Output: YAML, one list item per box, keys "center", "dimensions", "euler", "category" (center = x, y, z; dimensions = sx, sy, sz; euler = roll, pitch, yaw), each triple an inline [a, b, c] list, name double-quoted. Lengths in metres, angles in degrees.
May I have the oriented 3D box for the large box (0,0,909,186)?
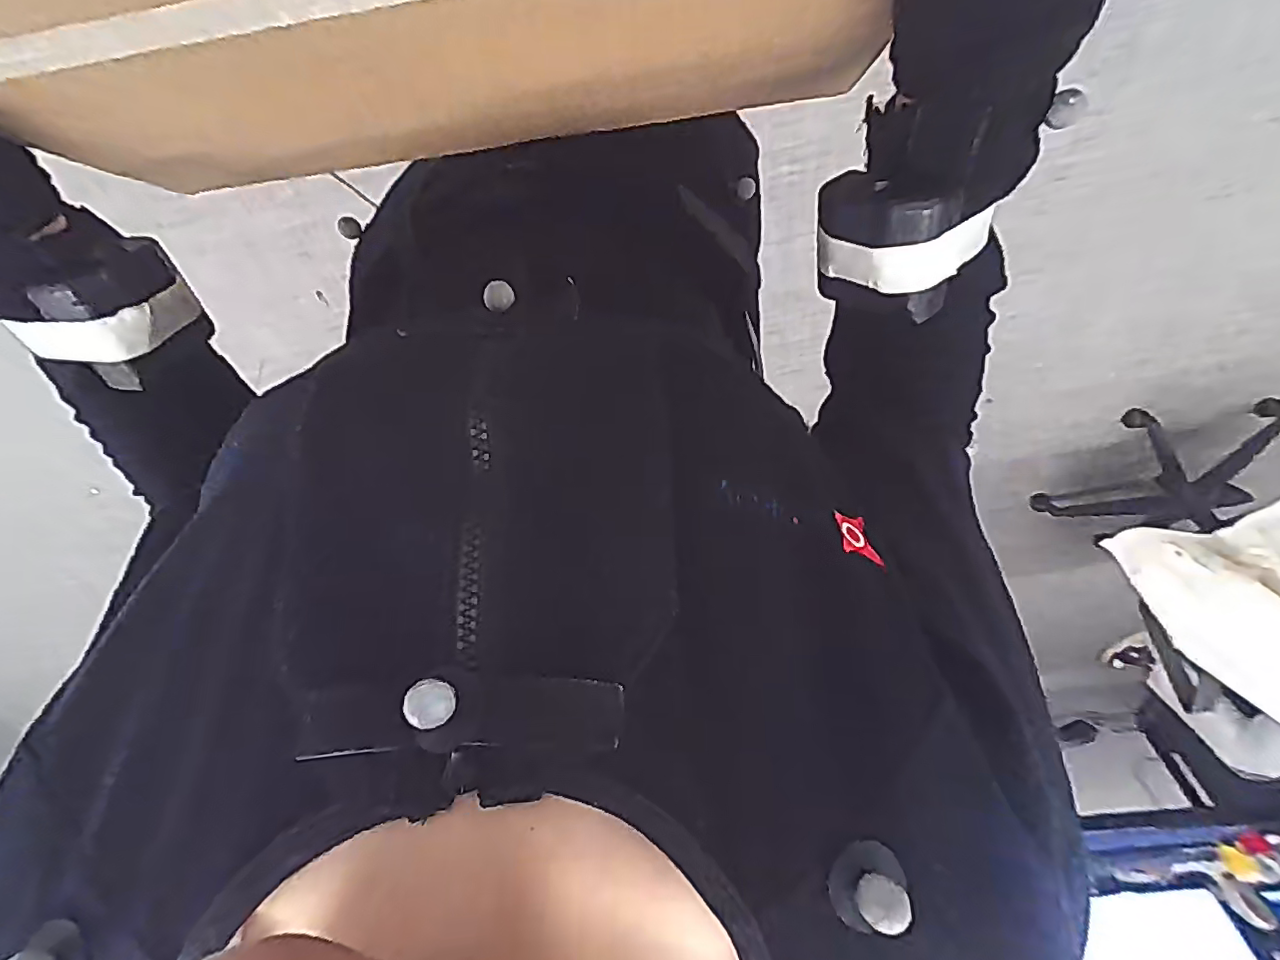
- center: [-0.103, -0.314, 0.142]
  dimensions: [0.408, 0.320, 0.320]
  euler: [-6, 105, 4]
  category: "large box"
